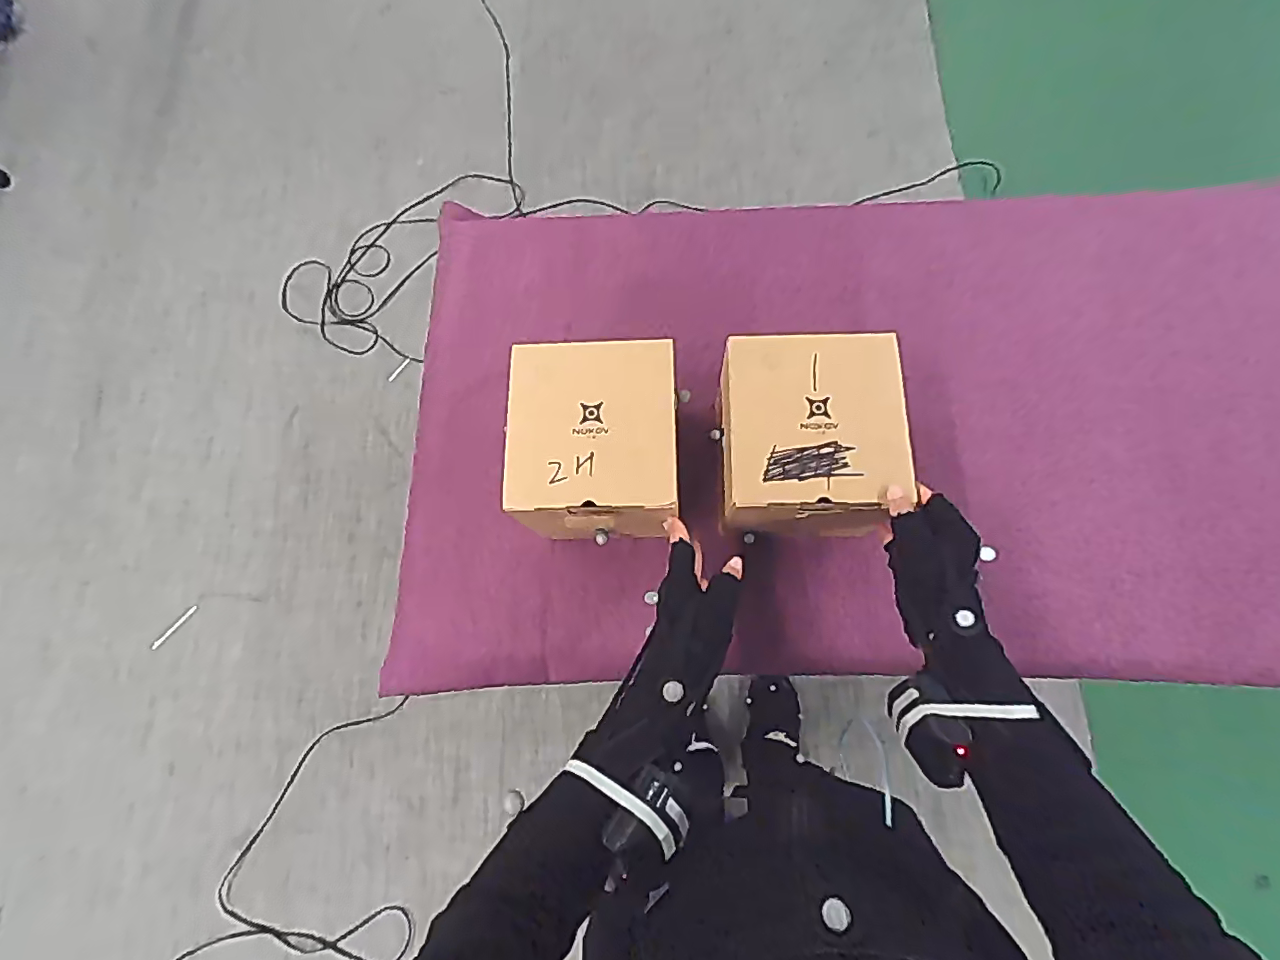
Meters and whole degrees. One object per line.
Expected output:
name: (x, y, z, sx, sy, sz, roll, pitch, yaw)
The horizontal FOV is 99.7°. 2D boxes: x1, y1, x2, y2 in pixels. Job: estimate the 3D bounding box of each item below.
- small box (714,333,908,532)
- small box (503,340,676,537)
small box: (0.170, -0.039, 0.592, 0.168, 0.176, 0.179, 0, 74, 4)
small box: (-0.044, -0.036, 0.606, 0.168, 0.176, 0.179, -2, 75, 4)
